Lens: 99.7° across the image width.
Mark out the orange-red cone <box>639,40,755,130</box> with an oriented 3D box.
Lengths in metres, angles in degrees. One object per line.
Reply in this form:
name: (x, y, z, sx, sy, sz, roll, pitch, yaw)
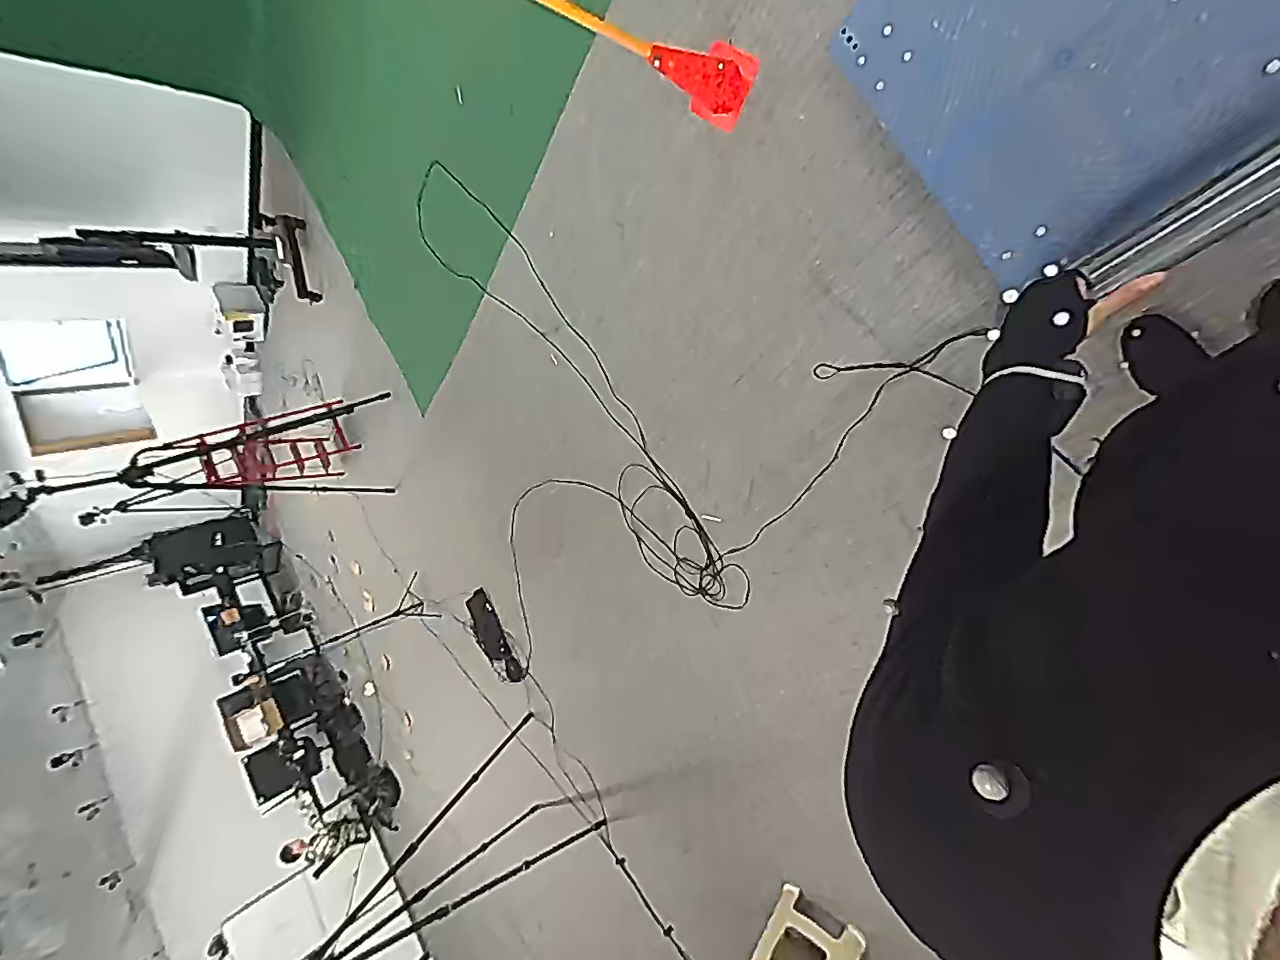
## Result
orange-red cone: (0.133, -1.184, 1.565, 0.198, 0.360, 0.199, 47, 133, 23)
